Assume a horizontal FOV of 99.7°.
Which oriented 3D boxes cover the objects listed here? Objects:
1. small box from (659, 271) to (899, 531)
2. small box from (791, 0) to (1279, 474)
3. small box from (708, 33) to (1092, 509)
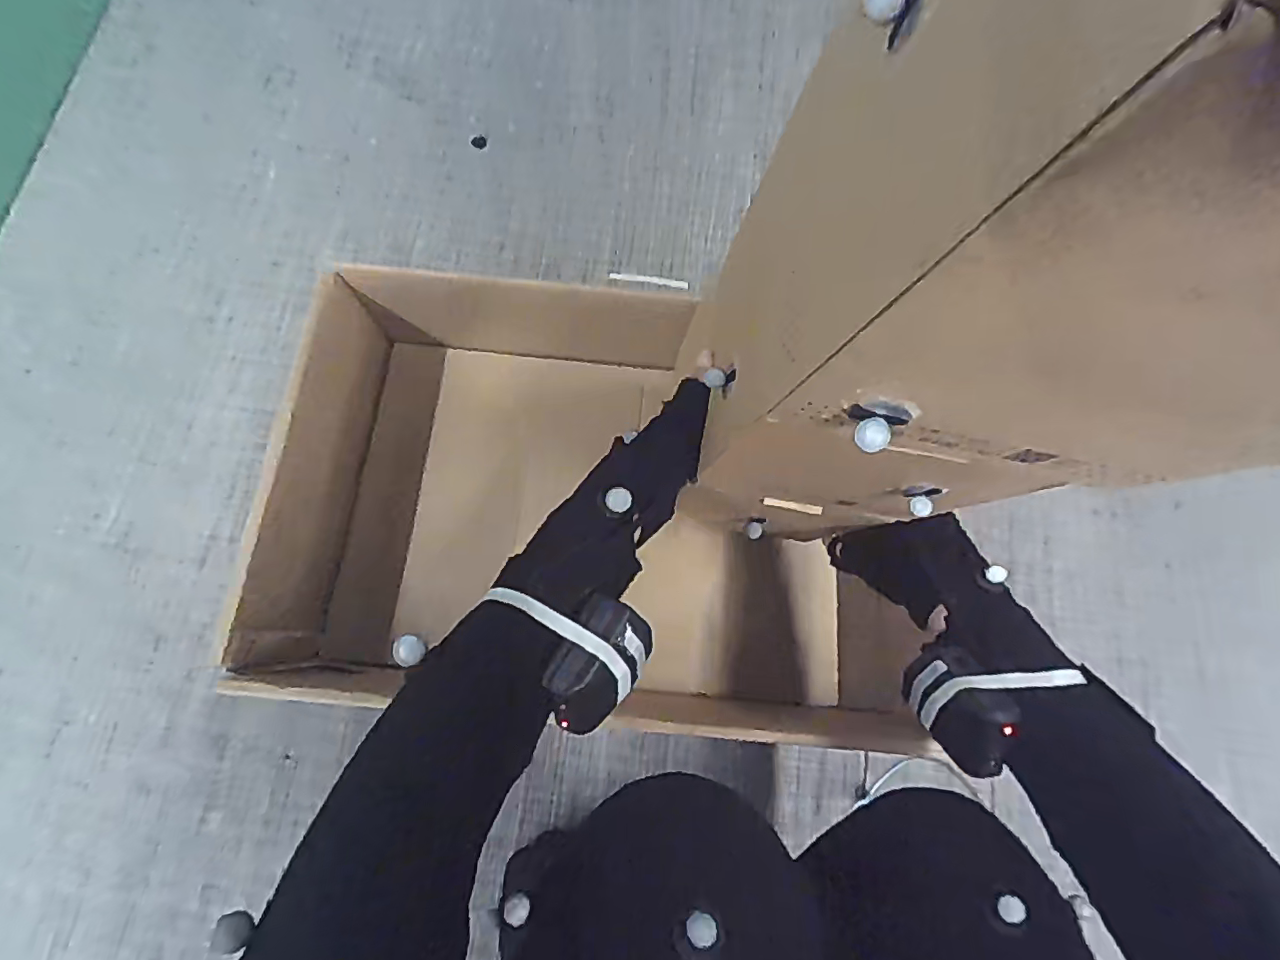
[{"bbox_3d":[0.113,-0.053,0.486,0.168,0.176,0.179,8,78,-5],"label":"small box"},{"bbox_3d":[0.158,-0.109,0.163,0.168,0.176,0.179,11,78,-6],"label":"small box"},{"bbox_3d":[0.142,-0.087,0.308,0.168,0.176,0.179,10,77,-5],"label":"small box"}]
